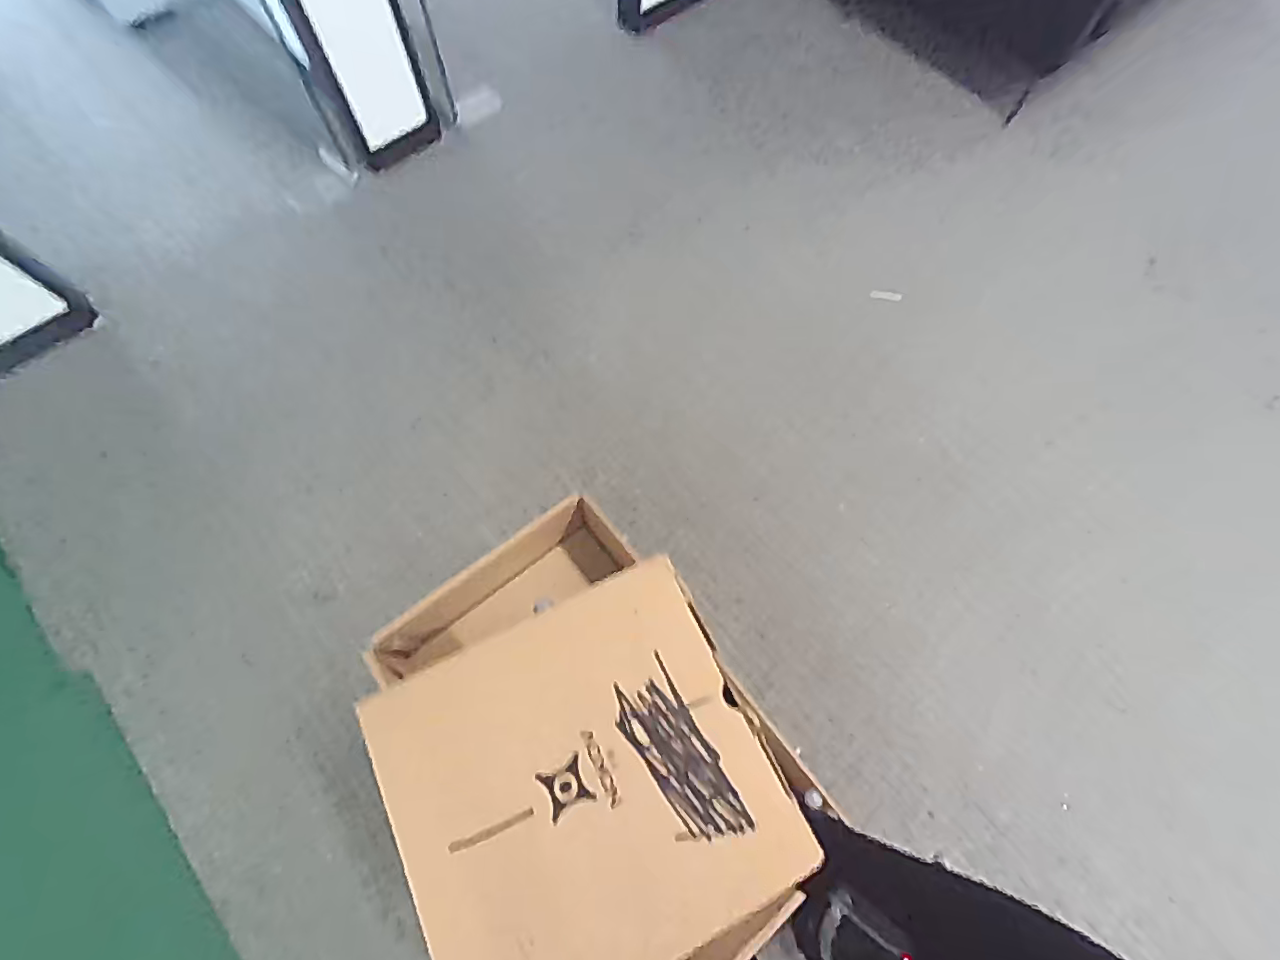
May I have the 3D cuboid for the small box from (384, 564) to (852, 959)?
[{"bbox_3d":[-0.017,0.172,0.327,0.179,0.176,0.168,-24,72,-11],"label":"small box"}]
